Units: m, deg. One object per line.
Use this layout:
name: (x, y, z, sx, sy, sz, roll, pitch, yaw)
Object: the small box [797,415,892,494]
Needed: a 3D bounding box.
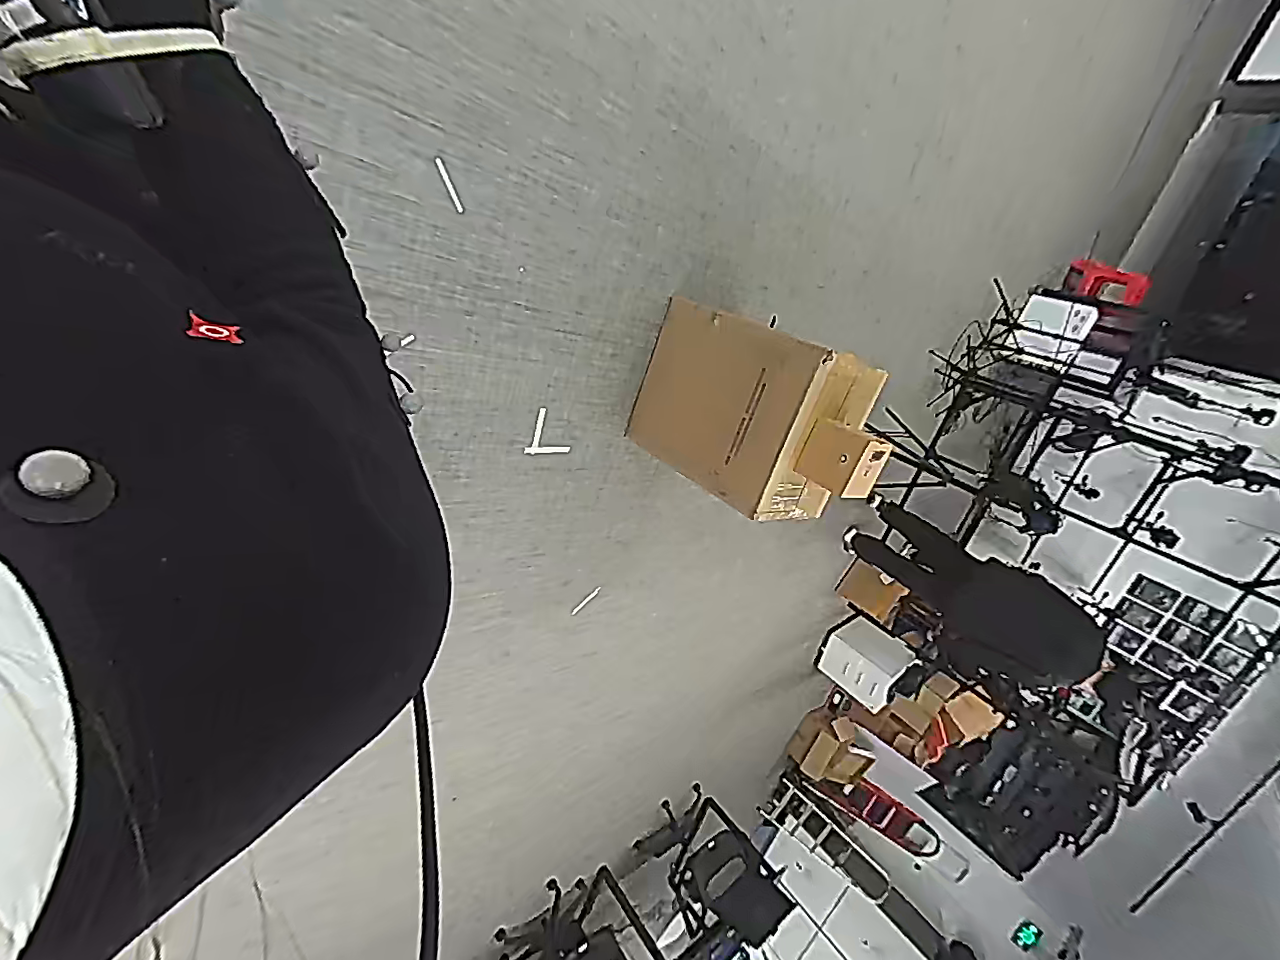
small box: (0.583, -0.074, 1.557, 0.168, 0.176, 0.179, 2, 116, -44)
